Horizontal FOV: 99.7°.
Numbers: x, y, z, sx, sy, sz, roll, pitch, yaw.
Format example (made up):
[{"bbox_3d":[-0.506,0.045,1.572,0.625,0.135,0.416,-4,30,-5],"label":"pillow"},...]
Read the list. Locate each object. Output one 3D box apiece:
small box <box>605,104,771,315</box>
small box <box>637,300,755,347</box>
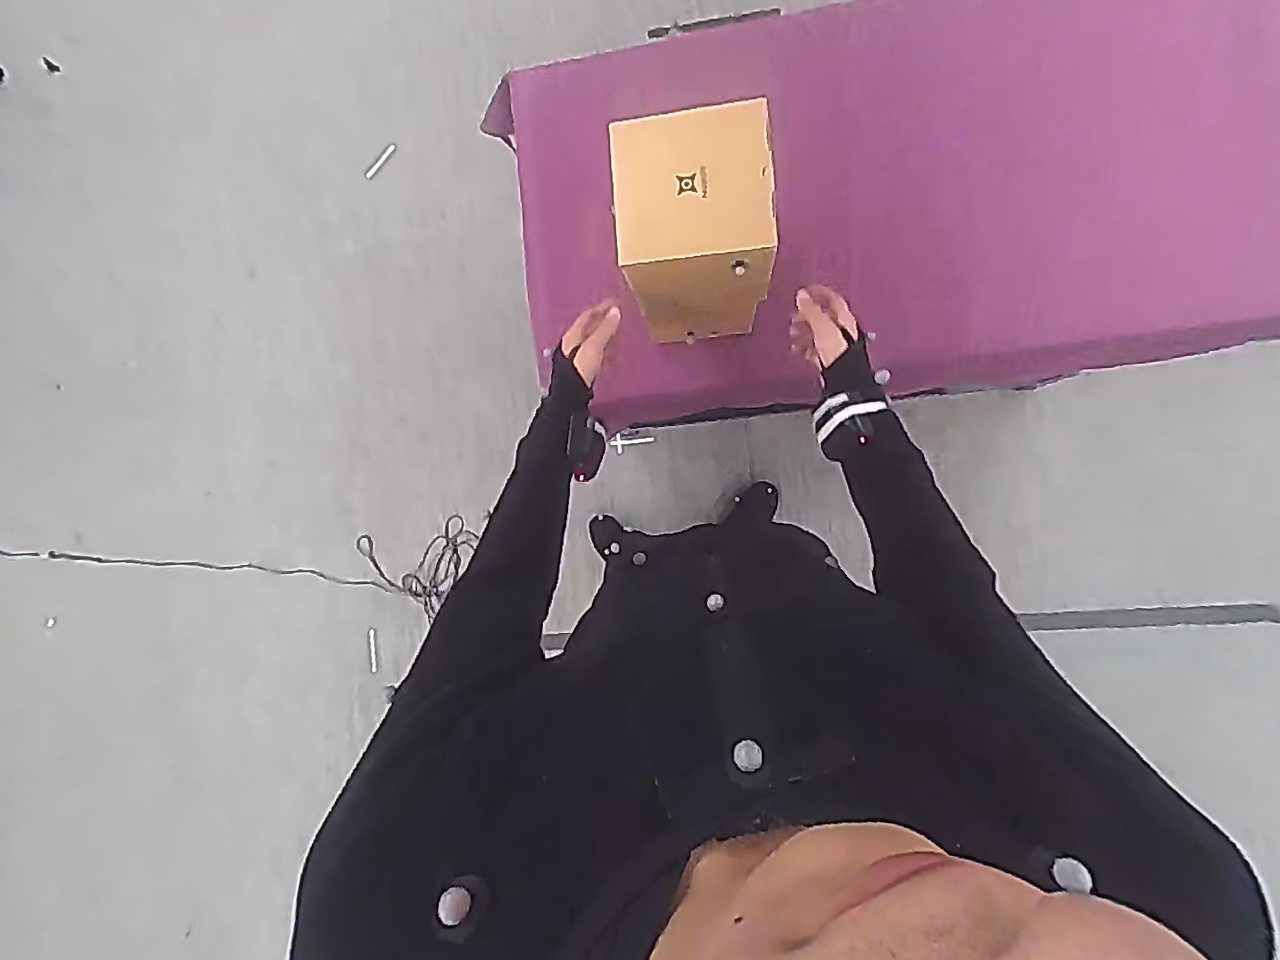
[{"bbox_3d":[0.062,-0.314,0.666,0.179,0.176,0.168,-4,89,8],"label":"small box"},{"bbox_3d":[0.082,-0.317,0.827,0.168,0.176,0.179,-5,89,9],"label":"small box"}]
